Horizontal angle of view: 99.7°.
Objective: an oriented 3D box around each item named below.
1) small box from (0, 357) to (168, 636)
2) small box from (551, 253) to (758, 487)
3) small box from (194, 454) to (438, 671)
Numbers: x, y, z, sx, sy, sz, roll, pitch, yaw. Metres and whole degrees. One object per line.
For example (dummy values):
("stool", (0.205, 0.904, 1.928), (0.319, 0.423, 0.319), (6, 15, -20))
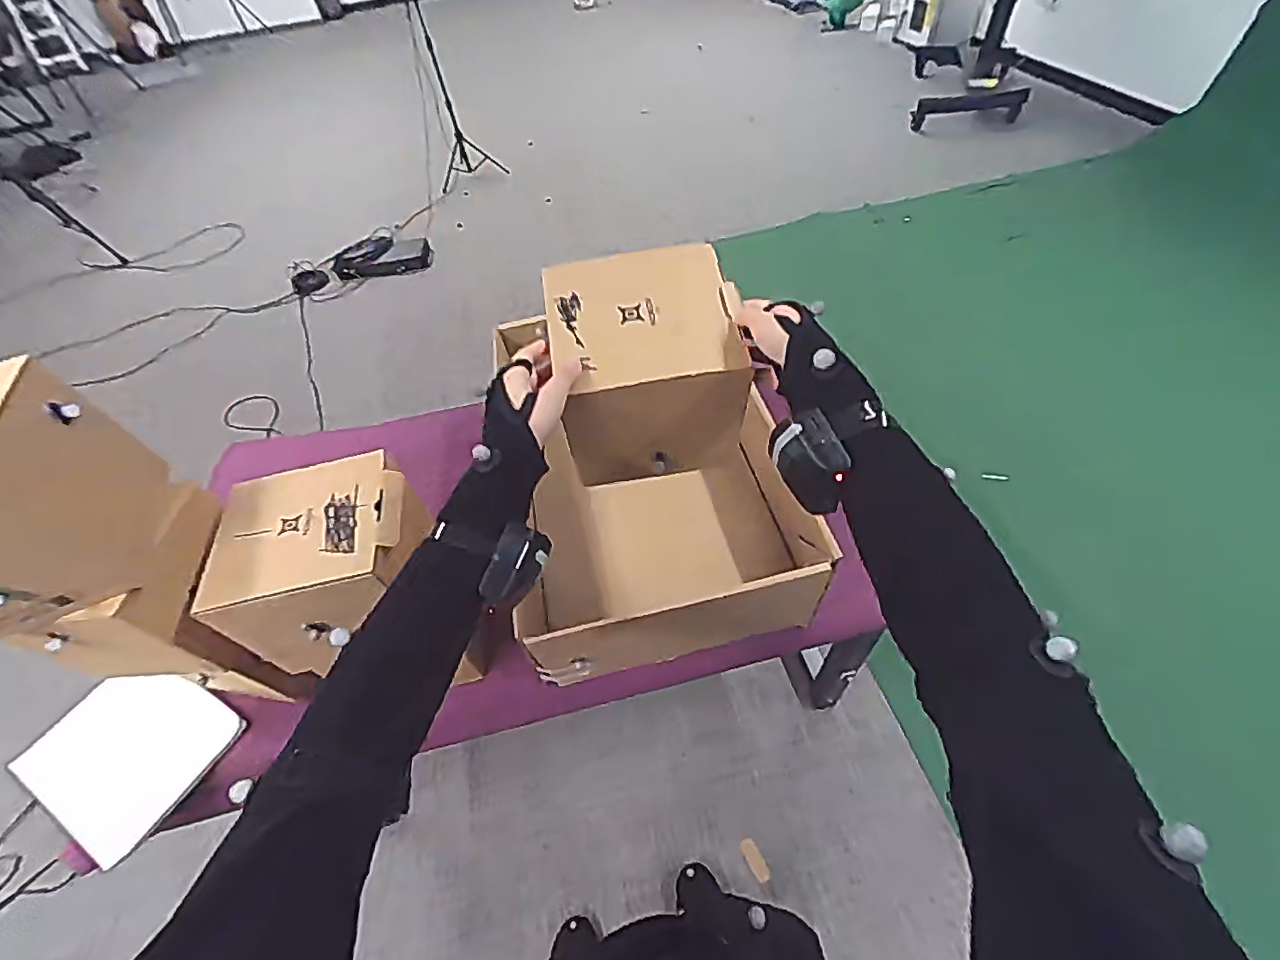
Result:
("small box", (-0.600, 0.021, 0.510), (0.168, 0.176, 0.179), (-22, 53, -9))
("small box", (0.009, -0.109, 0.576), (0.179, 0.176, 0.168), (-9, 60, -3))
("small box", (-0.347, 0.099, 0.626), (0.179, 0.176, 0.168), (-13, 50, -5))
